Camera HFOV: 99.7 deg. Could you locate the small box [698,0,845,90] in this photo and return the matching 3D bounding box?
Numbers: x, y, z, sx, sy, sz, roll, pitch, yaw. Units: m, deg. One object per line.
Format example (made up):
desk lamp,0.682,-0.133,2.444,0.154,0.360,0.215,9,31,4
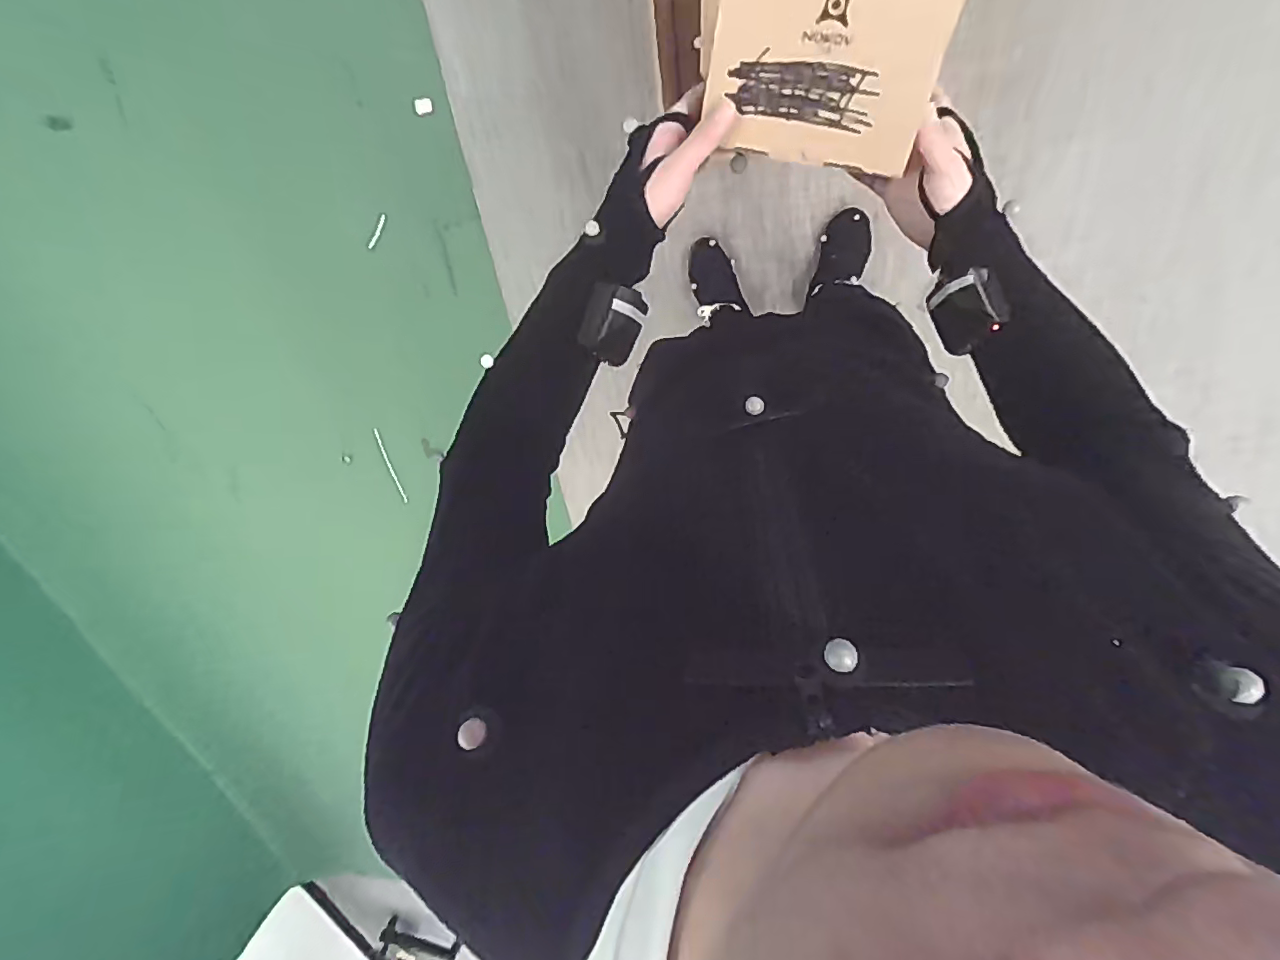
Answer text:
small box,0.164,-0.598,0.666,0.168,0.176,0.179,3,118,11
